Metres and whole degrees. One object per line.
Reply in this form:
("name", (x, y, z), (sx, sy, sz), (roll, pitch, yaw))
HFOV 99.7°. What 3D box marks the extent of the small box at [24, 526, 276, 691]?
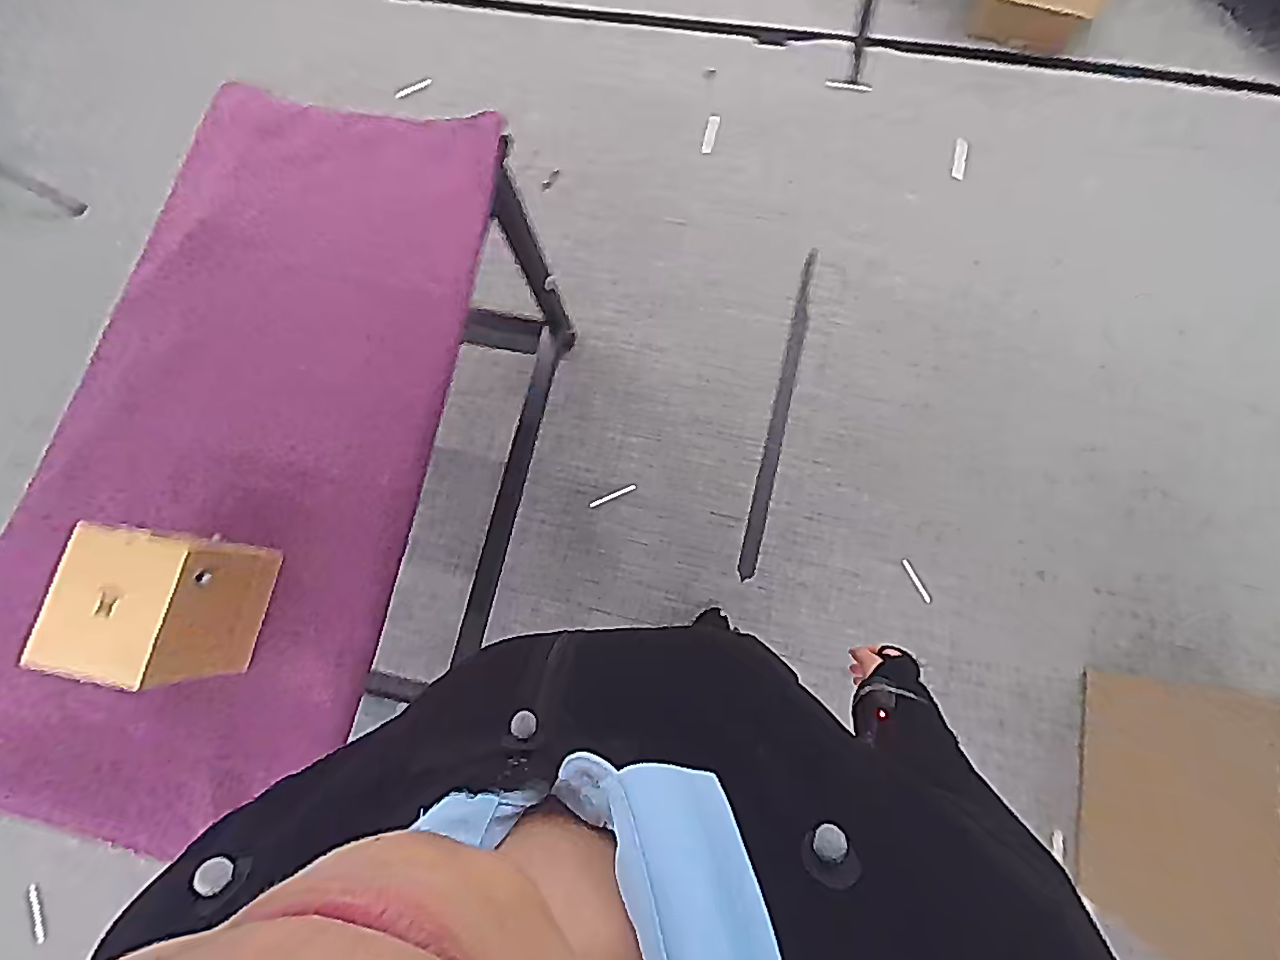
("small box", (-0.647, 0.172, 0.740), (0.168, 0.176, 0.179), (9, 77, 6))
